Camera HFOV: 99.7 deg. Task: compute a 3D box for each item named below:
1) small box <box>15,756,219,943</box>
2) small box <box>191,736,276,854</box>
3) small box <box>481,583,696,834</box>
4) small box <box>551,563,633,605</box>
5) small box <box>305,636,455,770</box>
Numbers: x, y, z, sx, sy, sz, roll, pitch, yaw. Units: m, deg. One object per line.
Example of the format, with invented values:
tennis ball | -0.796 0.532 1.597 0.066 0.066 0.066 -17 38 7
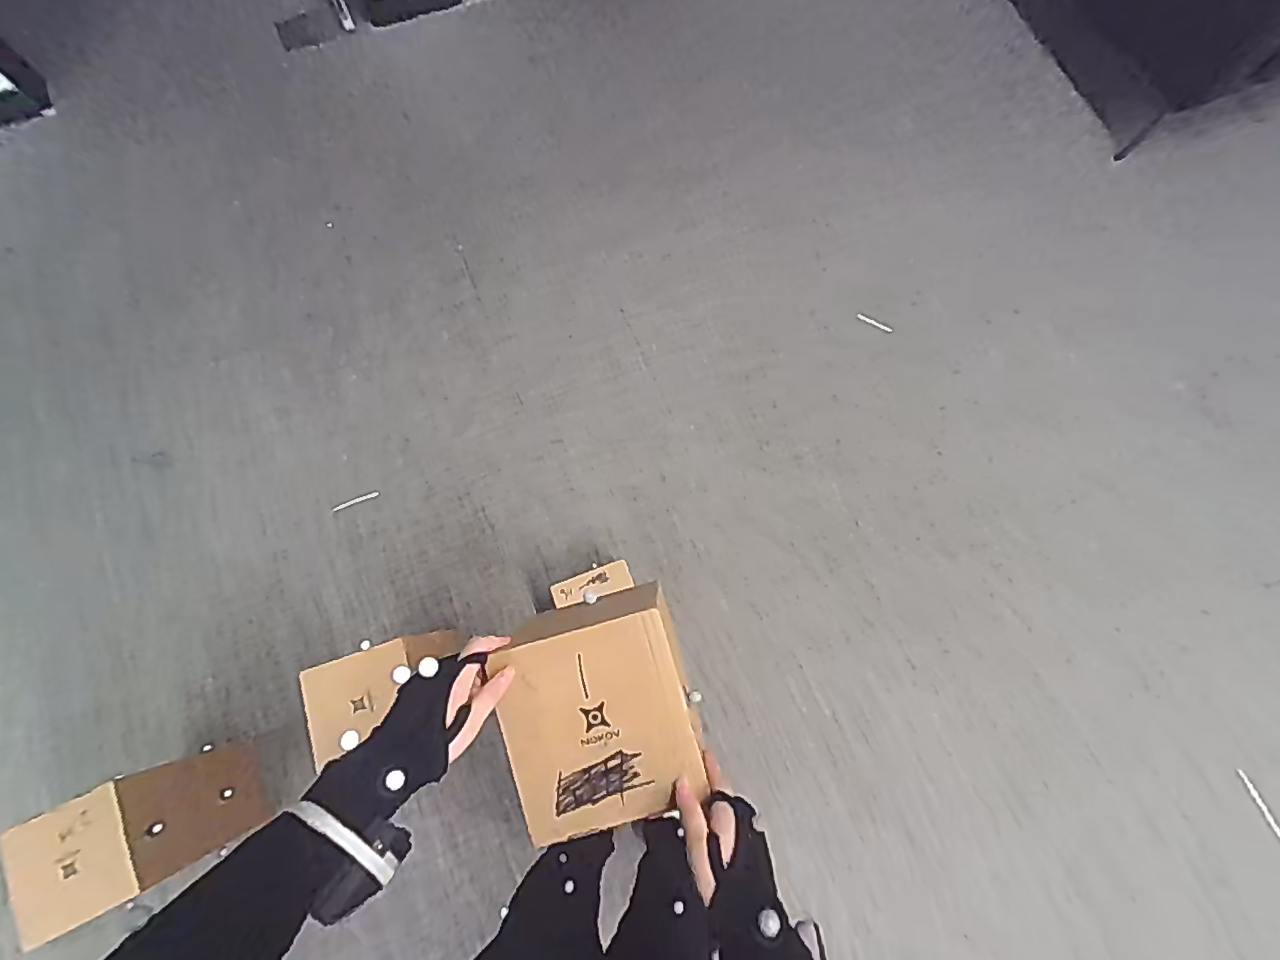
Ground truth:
small box | -0.853 0.596 0.901 0.168 0.176 0.179 -24 77 -9
small box | -0.859 0.635 1.060 0.168 0.176 0.179 -23 77 -8
small box | -0.043 0.223 0.573 0.168 0.176 0.179 -16 87 2
small box | -0.081 0.294 1.176 0.168 0.176 0.179 -19 77 -7
small box | -0.456 0.389 0.969 0.179 0.176 0.168 -18 76 -7
